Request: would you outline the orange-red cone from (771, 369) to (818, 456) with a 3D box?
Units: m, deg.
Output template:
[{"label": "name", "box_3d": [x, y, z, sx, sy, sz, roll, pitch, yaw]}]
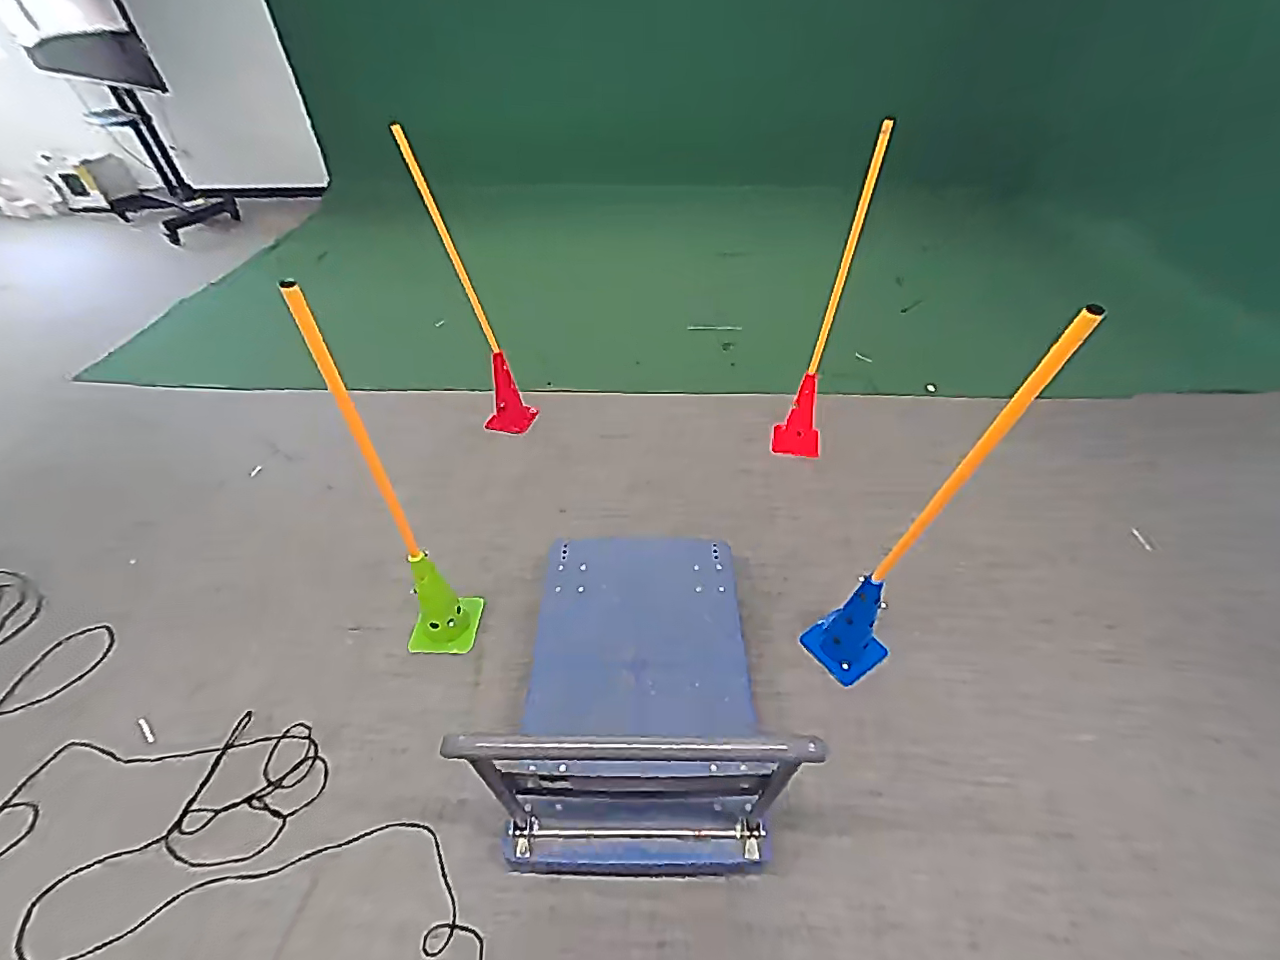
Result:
[{"label": "orange-red cone", "box_3d": [0.671, -0.298, 2.242, 0.198, 0.360, 0.199, 8, 46, 11]}]
